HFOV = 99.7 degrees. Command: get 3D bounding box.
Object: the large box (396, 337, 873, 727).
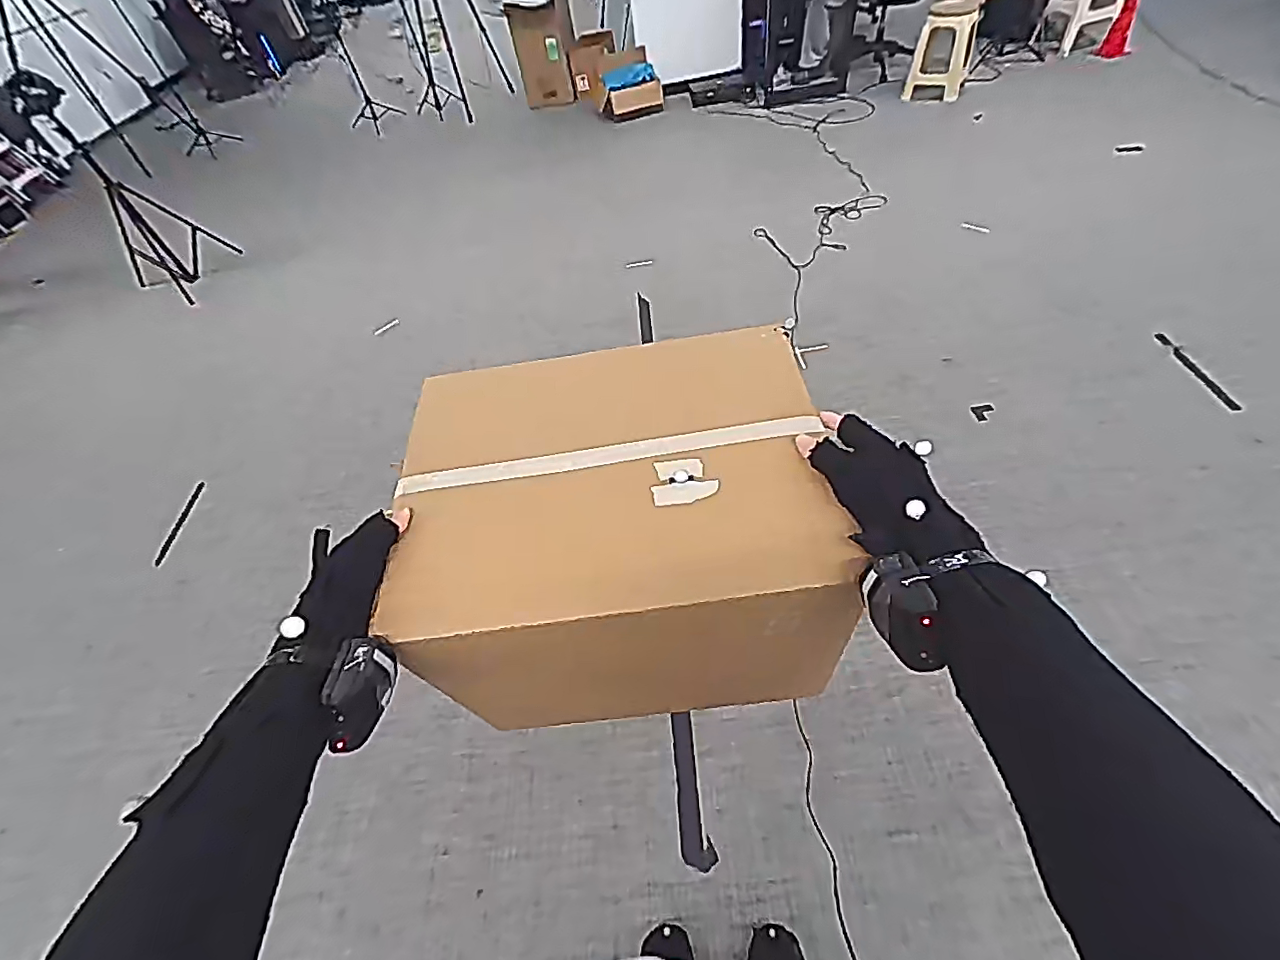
[{"bbox_3d":[-0.006,0.074,0.645,0.408,0.320,0.320,-8,53,2],"label":"large box"}]
